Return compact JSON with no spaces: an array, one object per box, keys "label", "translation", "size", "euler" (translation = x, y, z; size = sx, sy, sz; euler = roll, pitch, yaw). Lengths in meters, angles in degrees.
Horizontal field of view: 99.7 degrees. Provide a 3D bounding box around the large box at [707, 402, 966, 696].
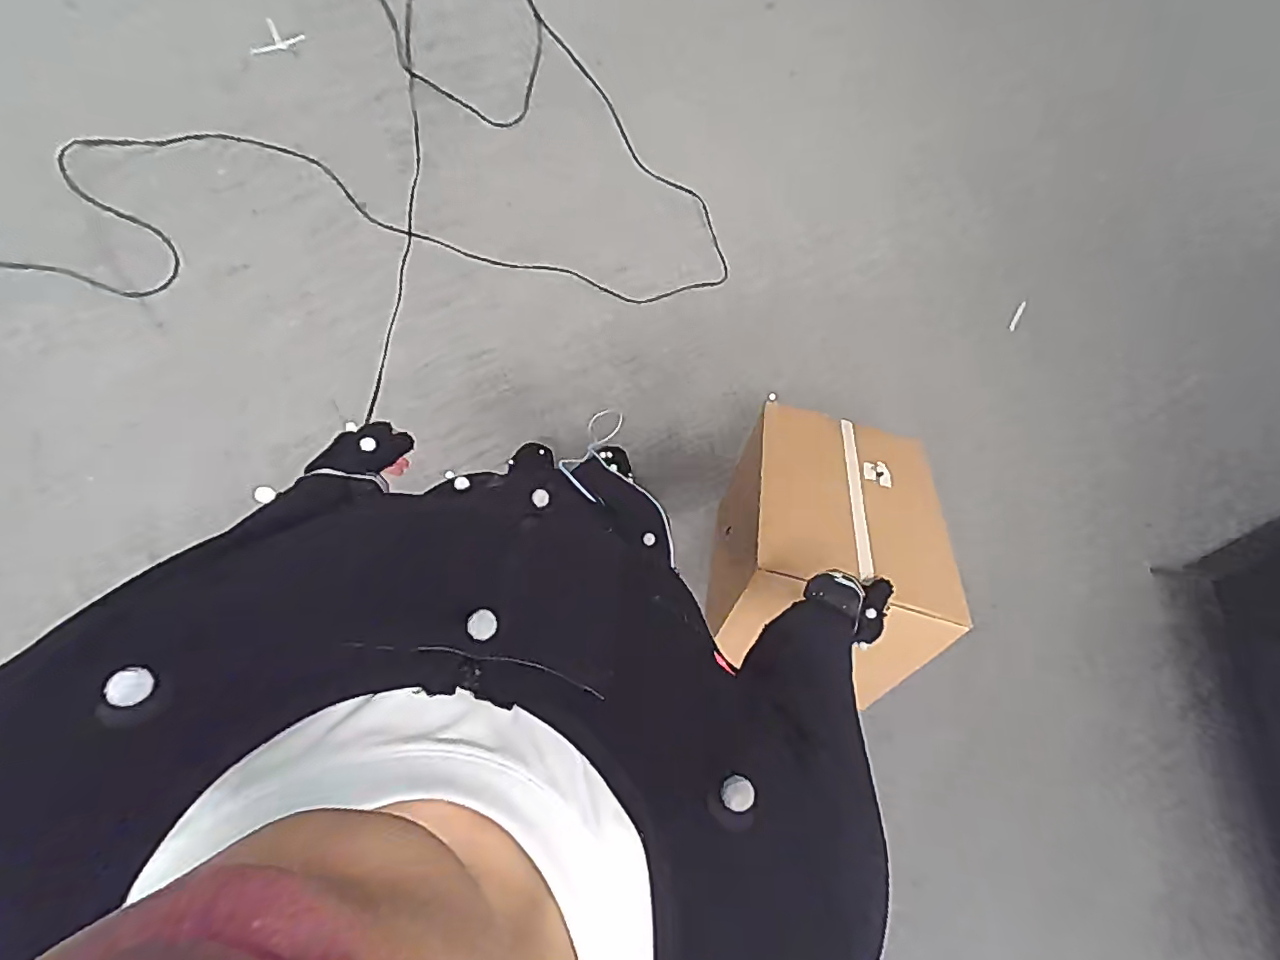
[{"label":"large box","translation":[0.322,0.124,1.006],"size":[0.320,0.408,0.320],"euler":[16,135,-1]}]
